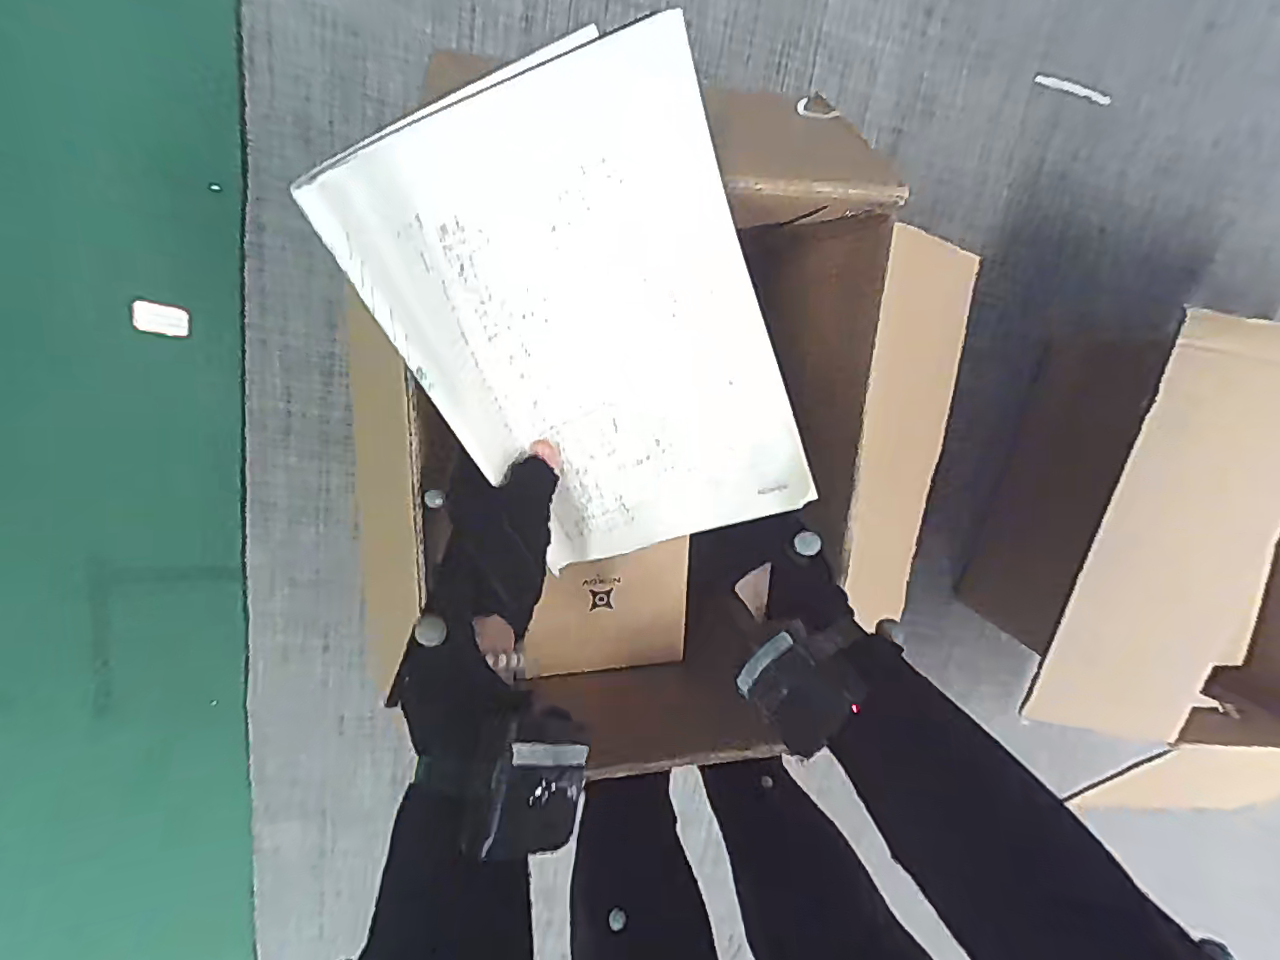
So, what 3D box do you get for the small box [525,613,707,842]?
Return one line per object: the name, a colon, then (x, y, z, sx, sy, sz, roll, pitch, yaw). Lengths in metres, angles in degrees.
small box: (-0.030, 0.309, 0.697, 0.179, 0.176, 0.168, 26, 108, 6)
